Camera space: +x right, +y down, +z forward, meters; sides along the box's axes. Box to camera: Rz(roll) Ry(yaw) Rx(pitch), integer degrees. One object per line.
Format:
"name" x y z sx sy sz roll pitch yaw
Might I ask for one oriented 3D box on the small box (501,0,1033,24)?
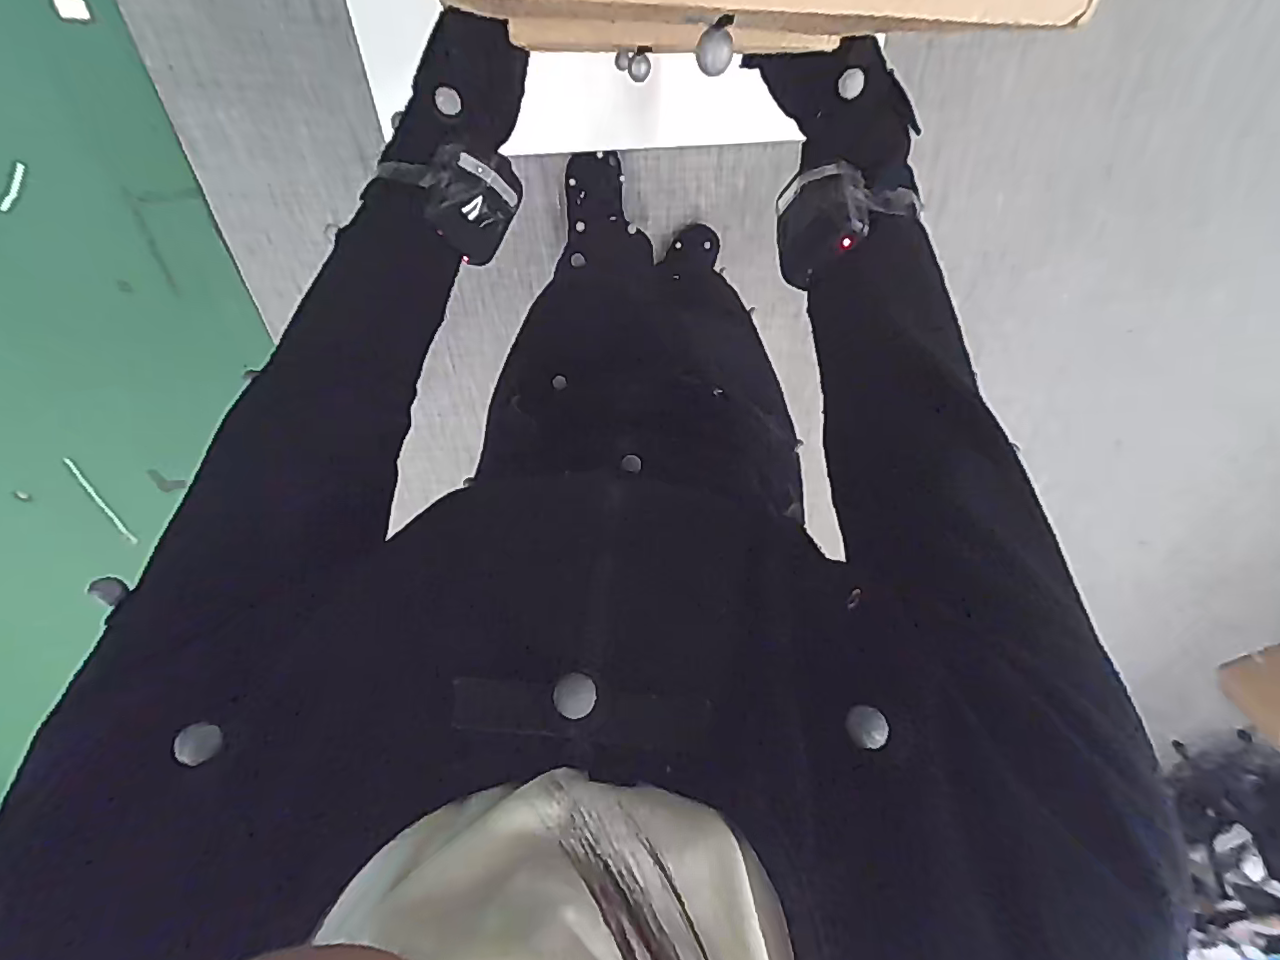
"small box" 0.024 -0.241 0.153 0.179 0.176 0.168 -3 130 -5

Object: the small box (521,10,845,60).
"small box" 0.012 -0.337 0.286 0.168 0.176 0.179 -5 128 -3
